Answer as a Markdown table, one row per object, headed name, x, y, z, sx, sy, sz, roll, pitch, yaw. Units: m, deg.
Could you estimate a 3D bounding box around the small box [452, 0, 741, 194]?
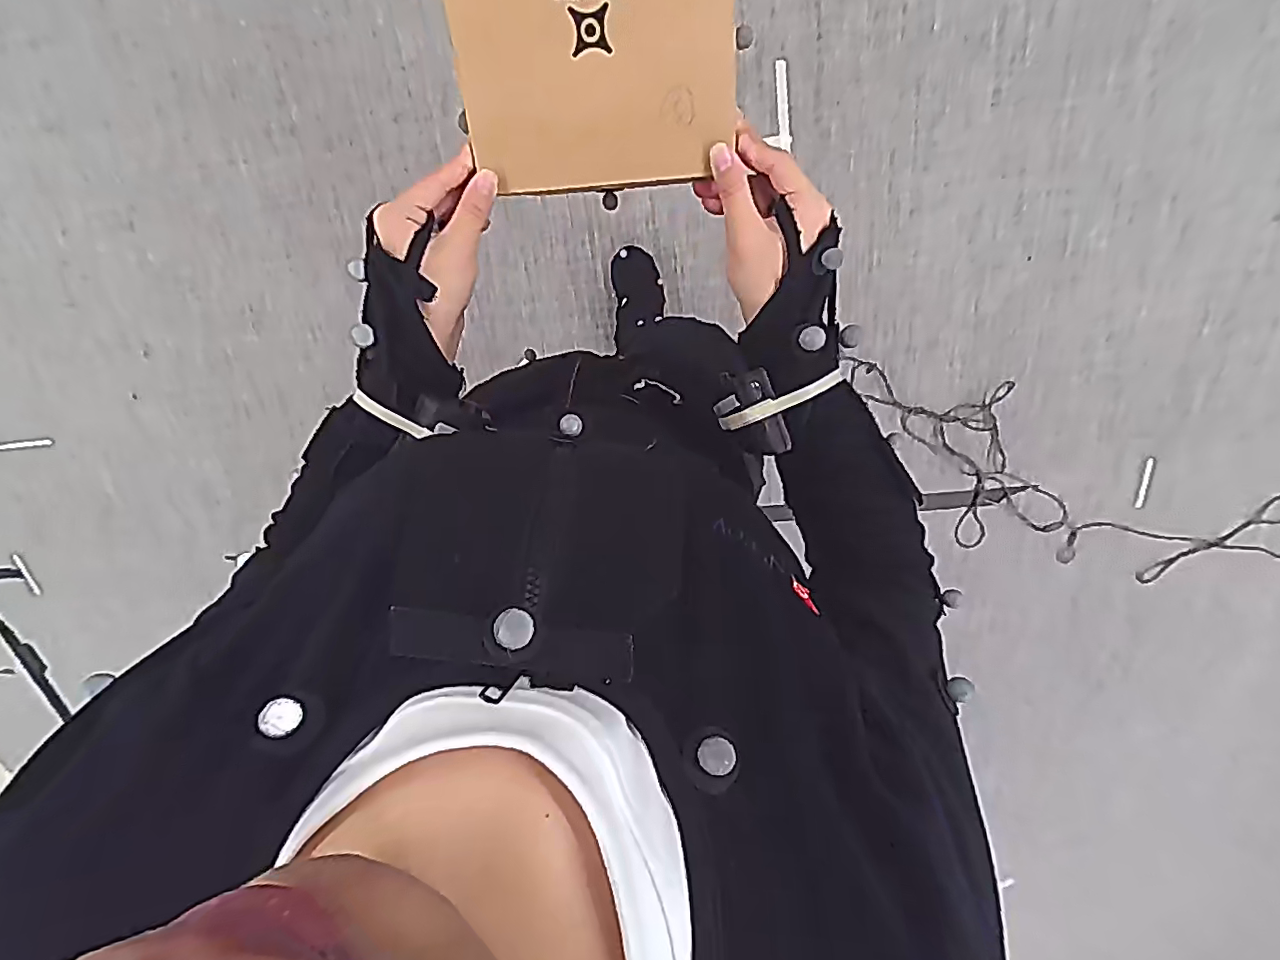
| name | x | y | z | sx | sy | sz | roll | pitch | yaw |
| --- | --- | --- | --- | --- | --- | --- | --- | --- | --- |
| small box | -0.021 | -0.304 | 0.376 | 0.168 | 0.176 | 0.179 | -3 | 117 | 3 |
